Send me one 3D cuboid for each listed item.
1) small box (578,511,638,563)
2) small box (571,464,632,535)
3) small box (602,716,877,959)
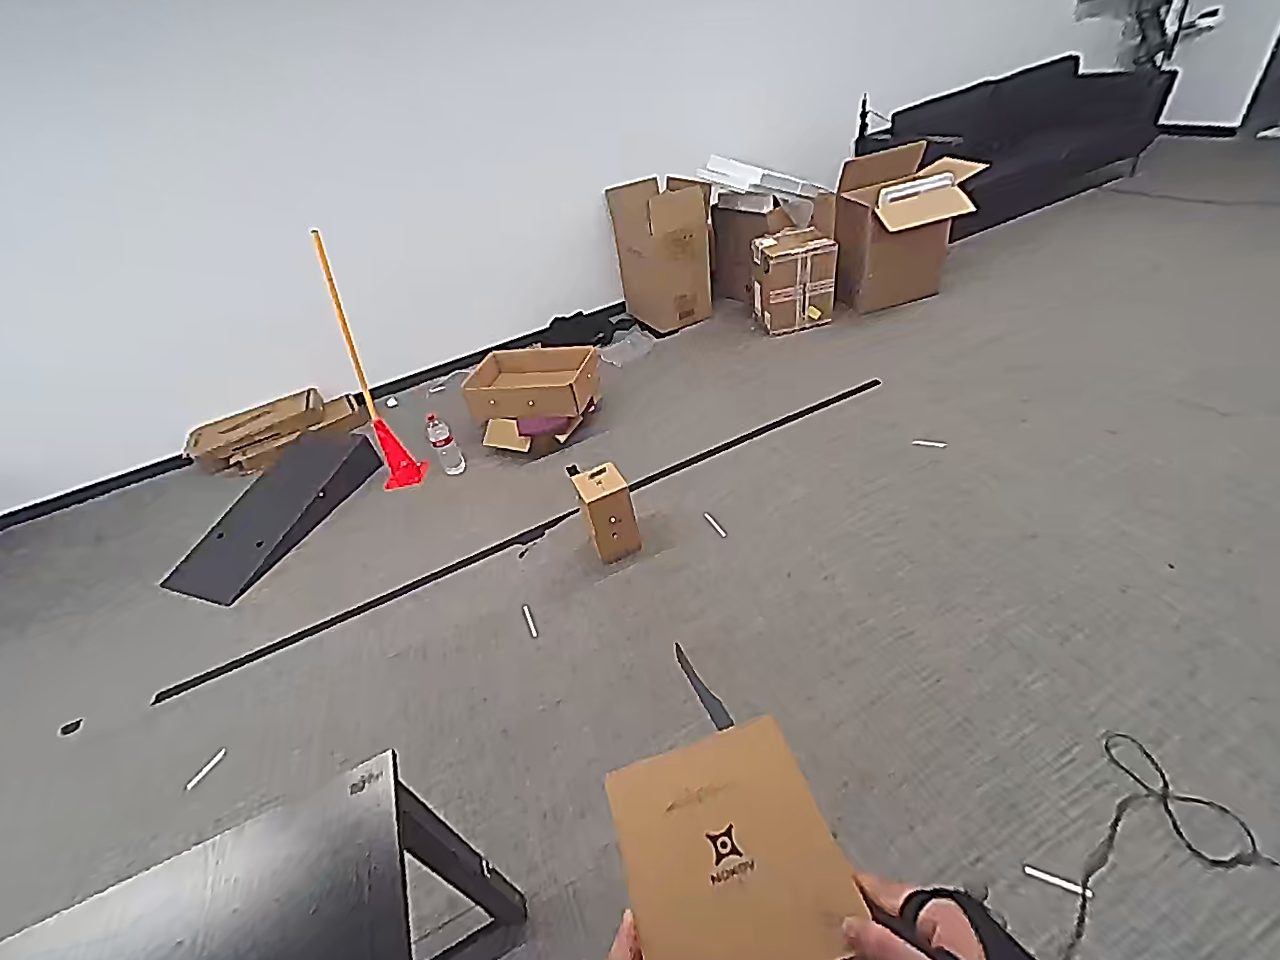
[{"bbox_3d":[-0.121,0.199,2.129,0.179,0.176,0.168,-22,40,-13],"label":"small box"},{"bbox_3d":[-0.143,0.075,2.023,0.168,0.176,0.179,-23,41,-13],"label":"small box"},{"bbox_3d":[0.079,0.352,0.478,0.168,0.176,0.179,-17,41,-7],"label":"small box"}]
